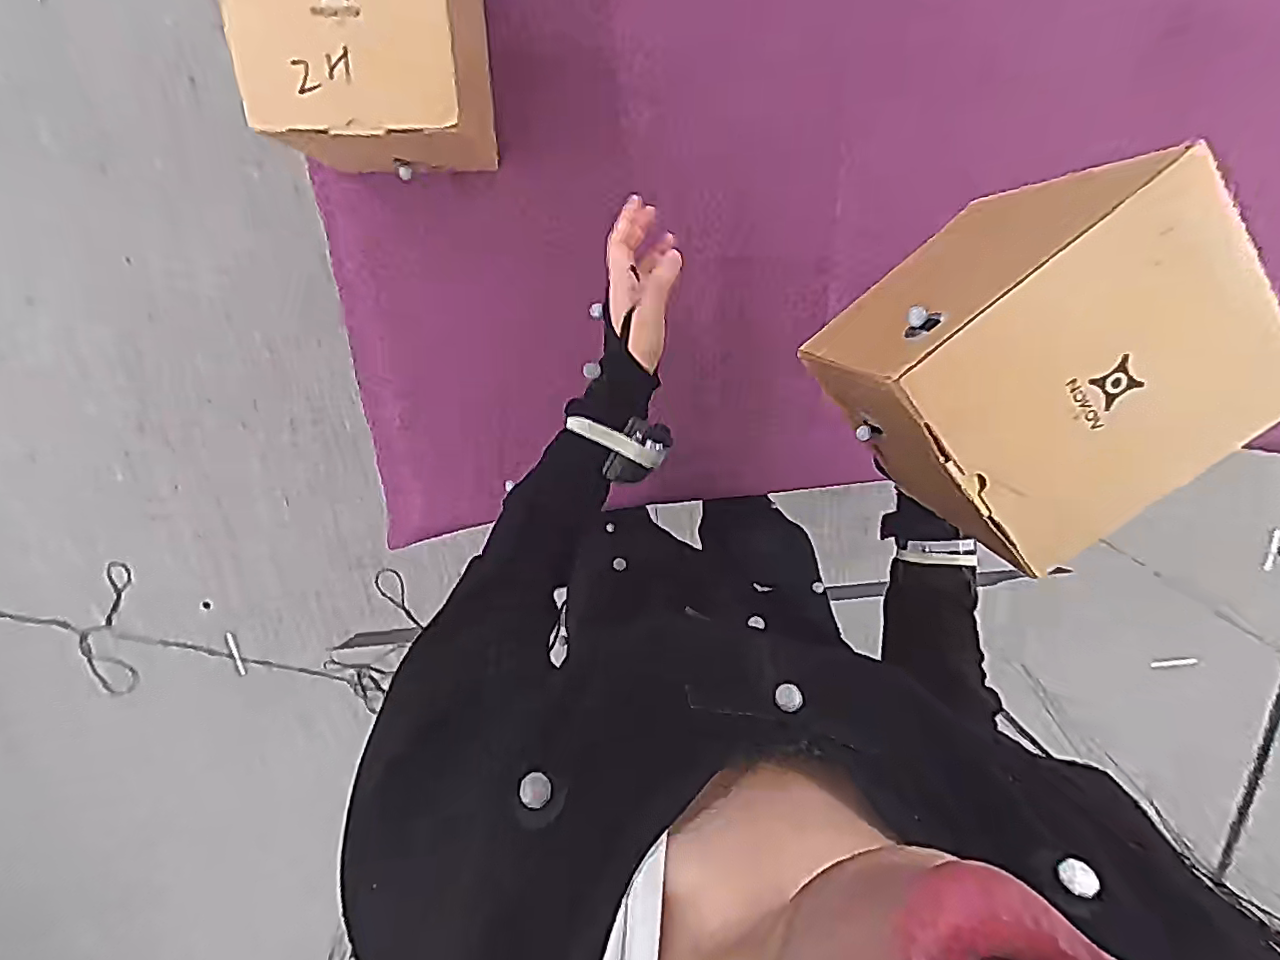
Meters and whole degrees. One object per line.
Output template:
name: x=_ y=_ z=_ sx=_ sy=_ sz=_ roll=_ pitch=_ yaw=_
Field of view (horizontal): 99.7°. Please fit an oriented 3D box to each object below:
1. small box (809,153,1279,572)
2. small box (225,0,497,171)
small box: x=0.252 y=-0.078 z=0.374 sx=0.179 sy=0.176 sz=0.168 roll=-40 pitch=107 yaw=12
small box: x=-0.229 y=-0.388 z=0.475 sx=0.168 sy=0.176 sz=0.179 roll=-2 pitch=111 yaw=-3
